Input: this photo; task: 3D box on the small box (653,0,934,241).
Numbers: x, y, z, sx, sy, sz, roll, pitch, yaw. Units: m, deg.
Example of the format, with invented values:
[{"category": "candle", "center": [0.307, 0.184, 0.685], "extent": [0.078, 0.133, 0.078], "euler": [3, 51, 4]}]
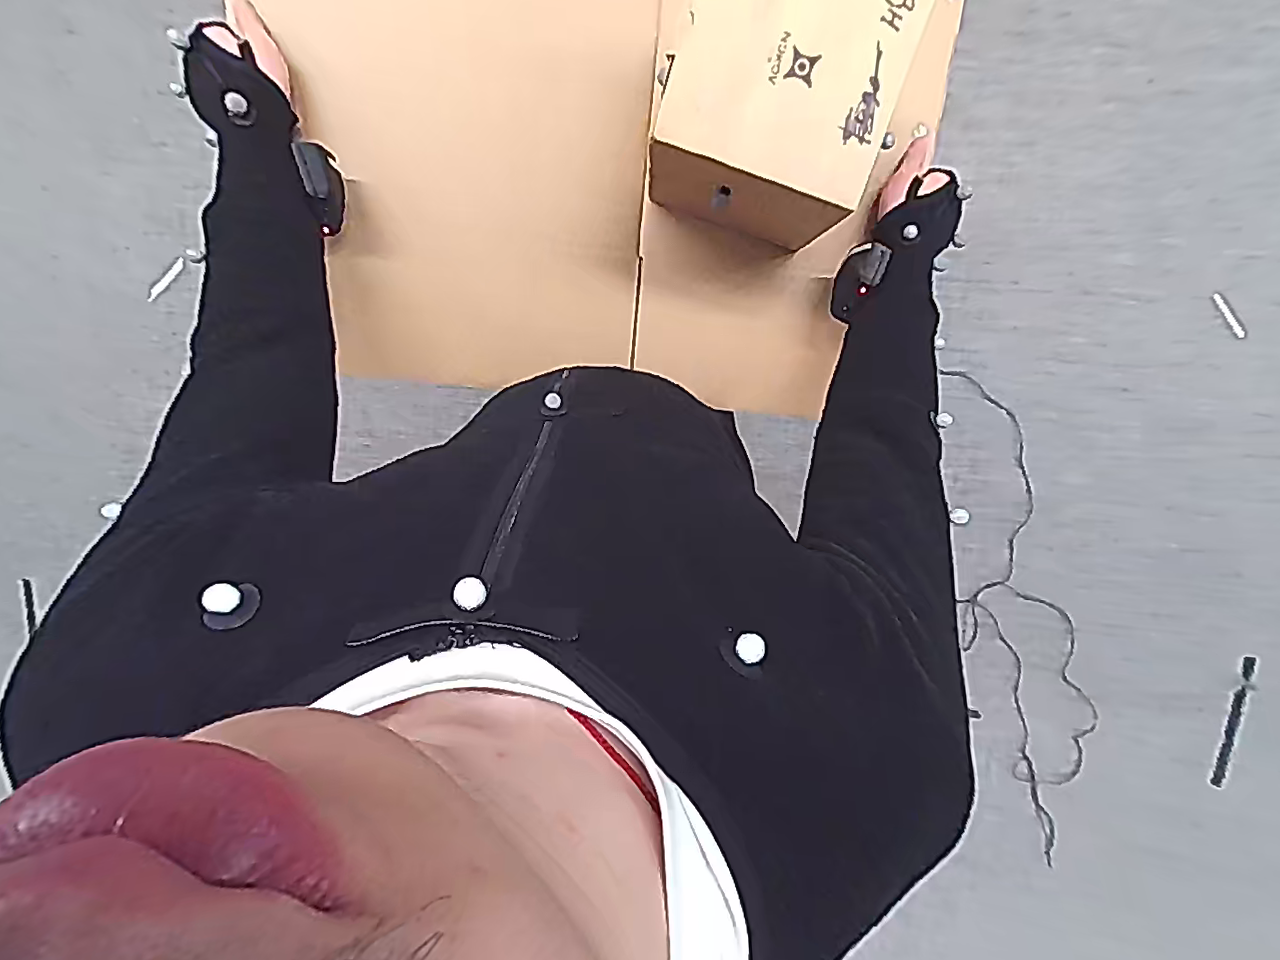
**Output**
[{"category": "small box", "center": [0.119, -0.339, 0.493], "extent": [0.179, 0.176, 0.168], "euler": [18, 102, -2]}]
